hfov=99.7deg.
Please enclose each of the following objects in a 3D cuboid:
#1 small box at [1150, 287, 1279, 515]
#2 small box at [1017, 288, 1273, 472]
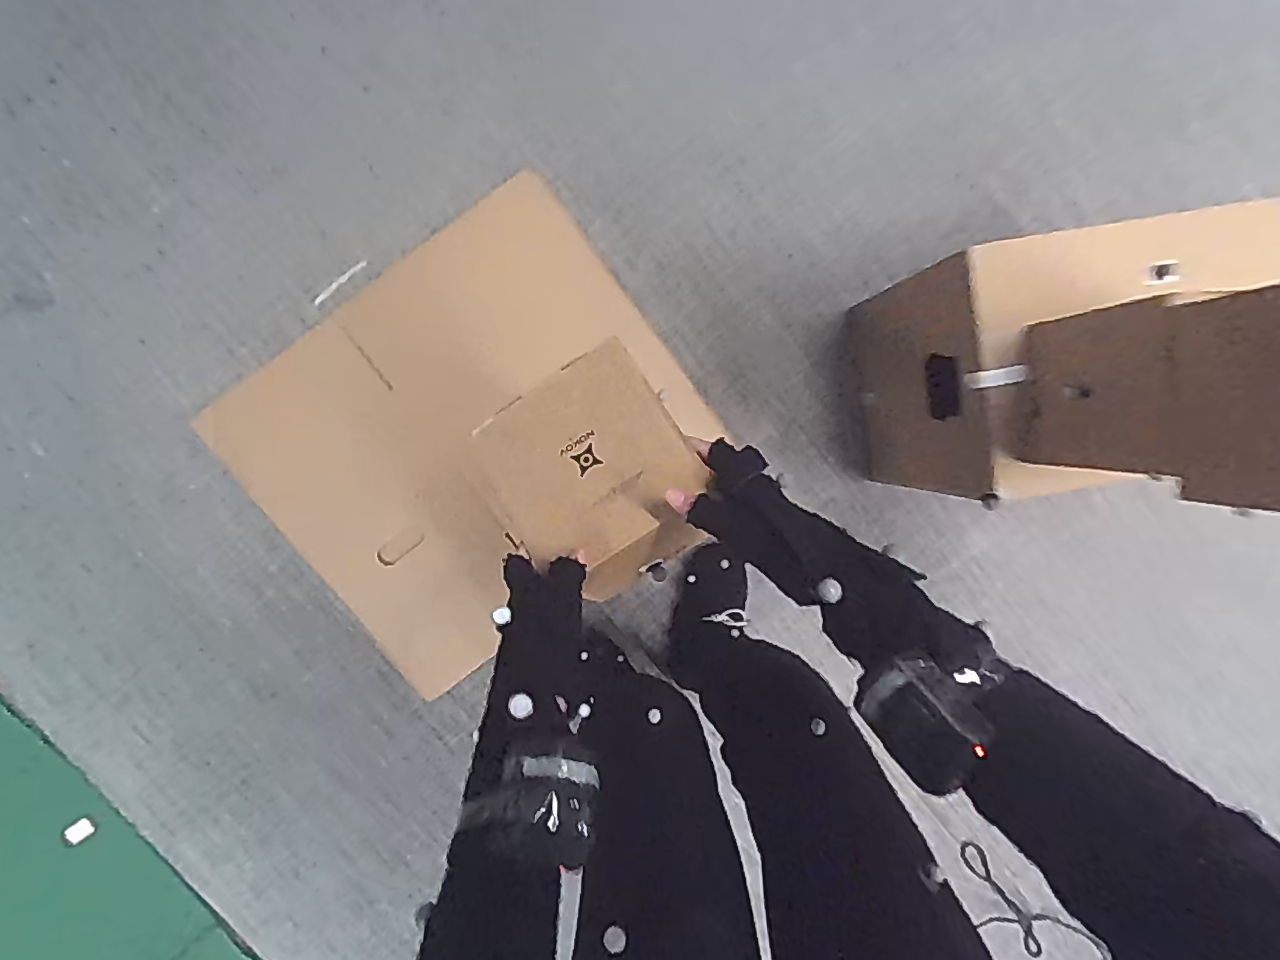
[{"bbox_3d":[0.552,-0.069,0.417,0.168,0.176,0.179,-11,97,-2],"label":"small box"},{"bbox_3d":[0.542,-0.096,0.582,0.179,0.176,0.168,-5,93,-3],"label":"small box"}]
